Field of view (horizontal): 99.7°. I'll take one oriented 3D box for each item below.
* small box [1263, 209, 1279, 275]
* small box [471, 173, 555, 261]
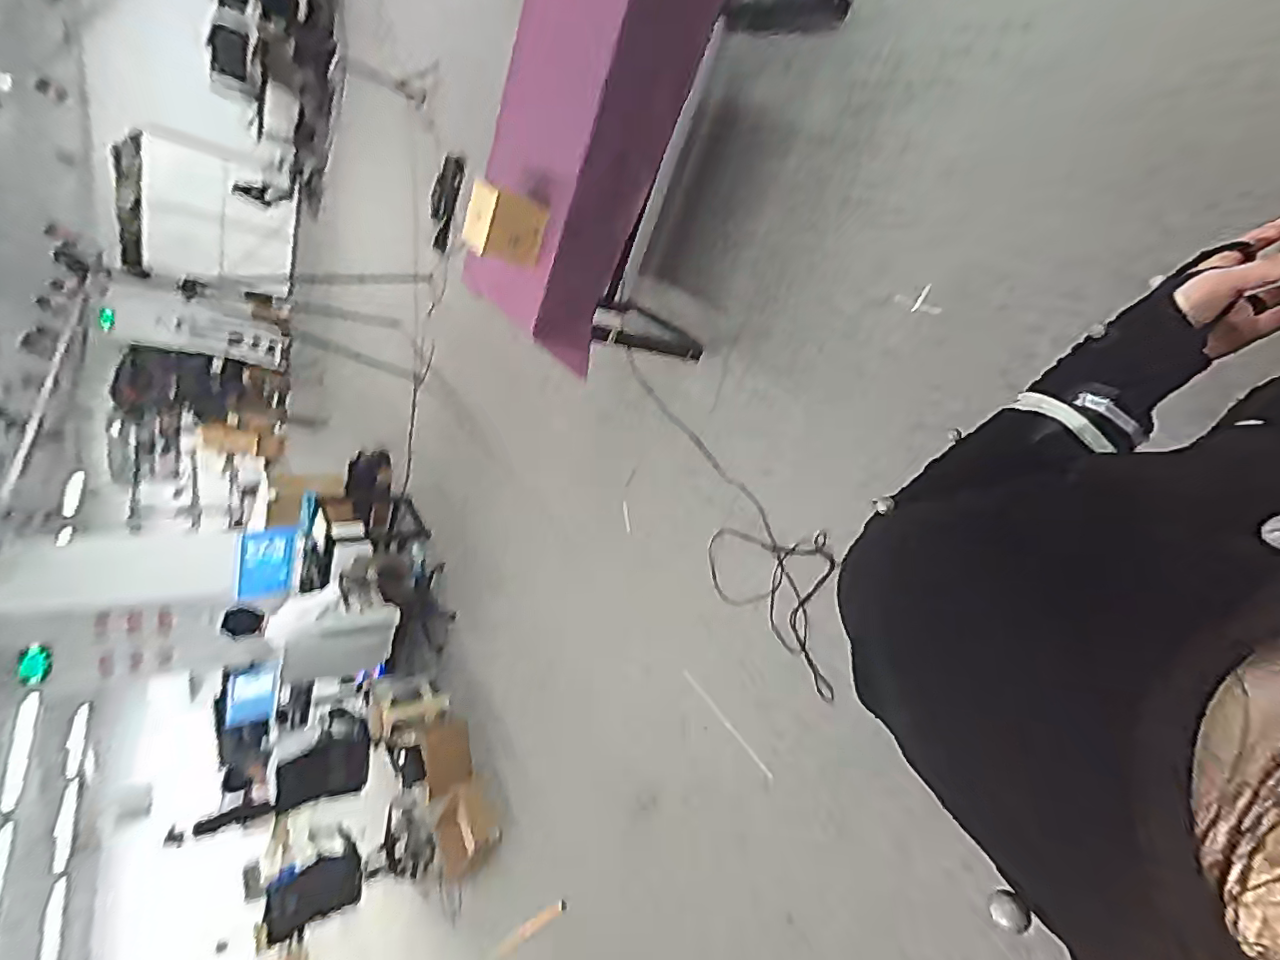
[{"bbox_3d":[0.500,-0.198,0.286,0.179,0.176,0.168,14,112,32],"label":"small box"},{"bbox_3d":[-0.369,-0.759,1.574,0.179,0.176,0.168,50,125,38],"label":"small box"}]
